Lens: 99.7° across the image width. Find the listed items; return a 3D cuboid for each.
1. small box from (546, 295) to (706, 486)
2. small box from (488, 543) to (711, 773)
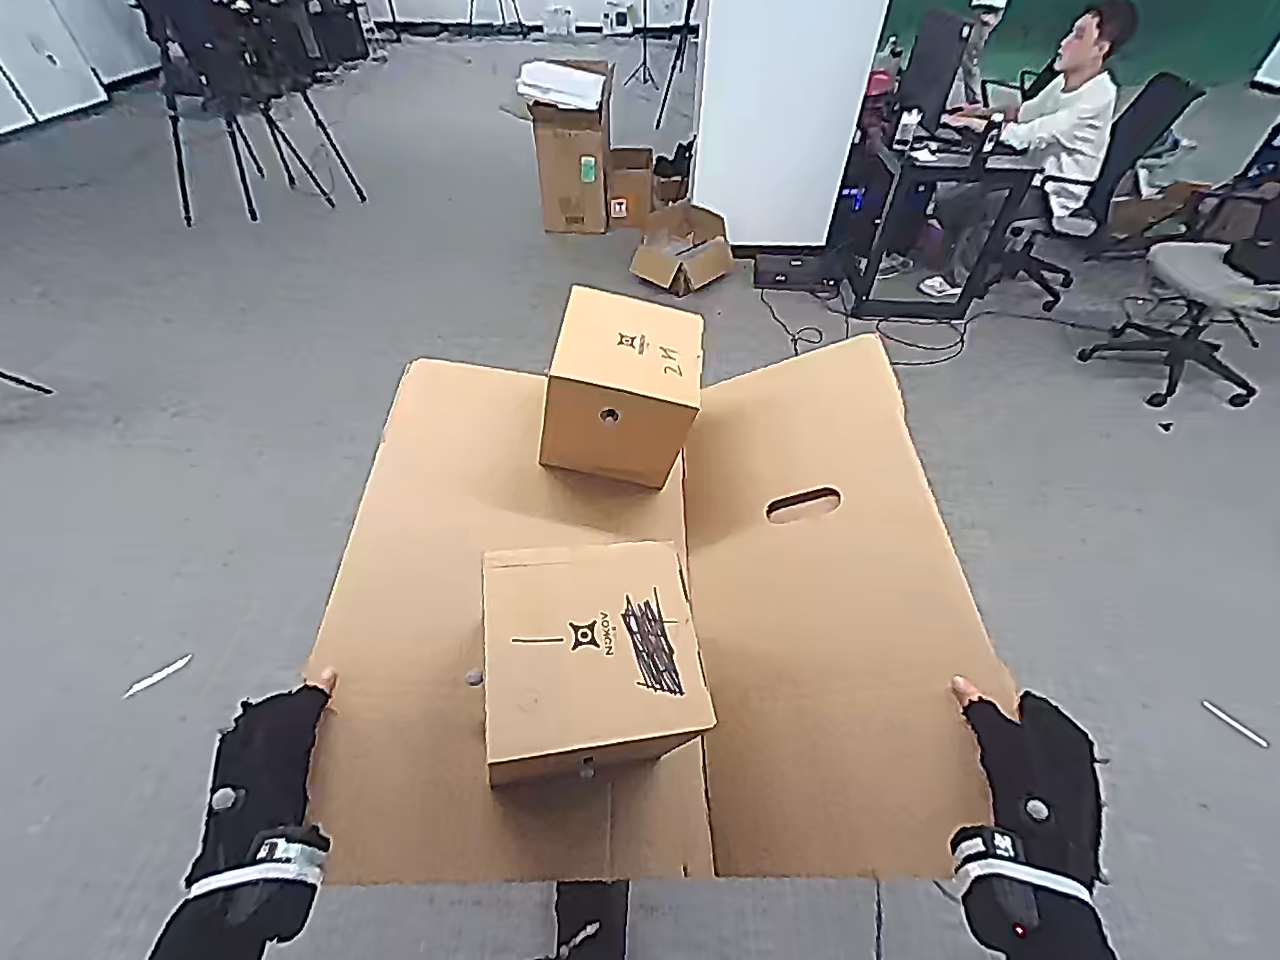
[{"bbox_3d":[-0.023,-0.112,0.726,0.179,0.176,0.168,13,54,-7],"label":"small box"},{"bbox_3d":[-0.054,0.172,0.520,0.179,0.176,0.168,-1,57,-16],"label":"small box"}]
